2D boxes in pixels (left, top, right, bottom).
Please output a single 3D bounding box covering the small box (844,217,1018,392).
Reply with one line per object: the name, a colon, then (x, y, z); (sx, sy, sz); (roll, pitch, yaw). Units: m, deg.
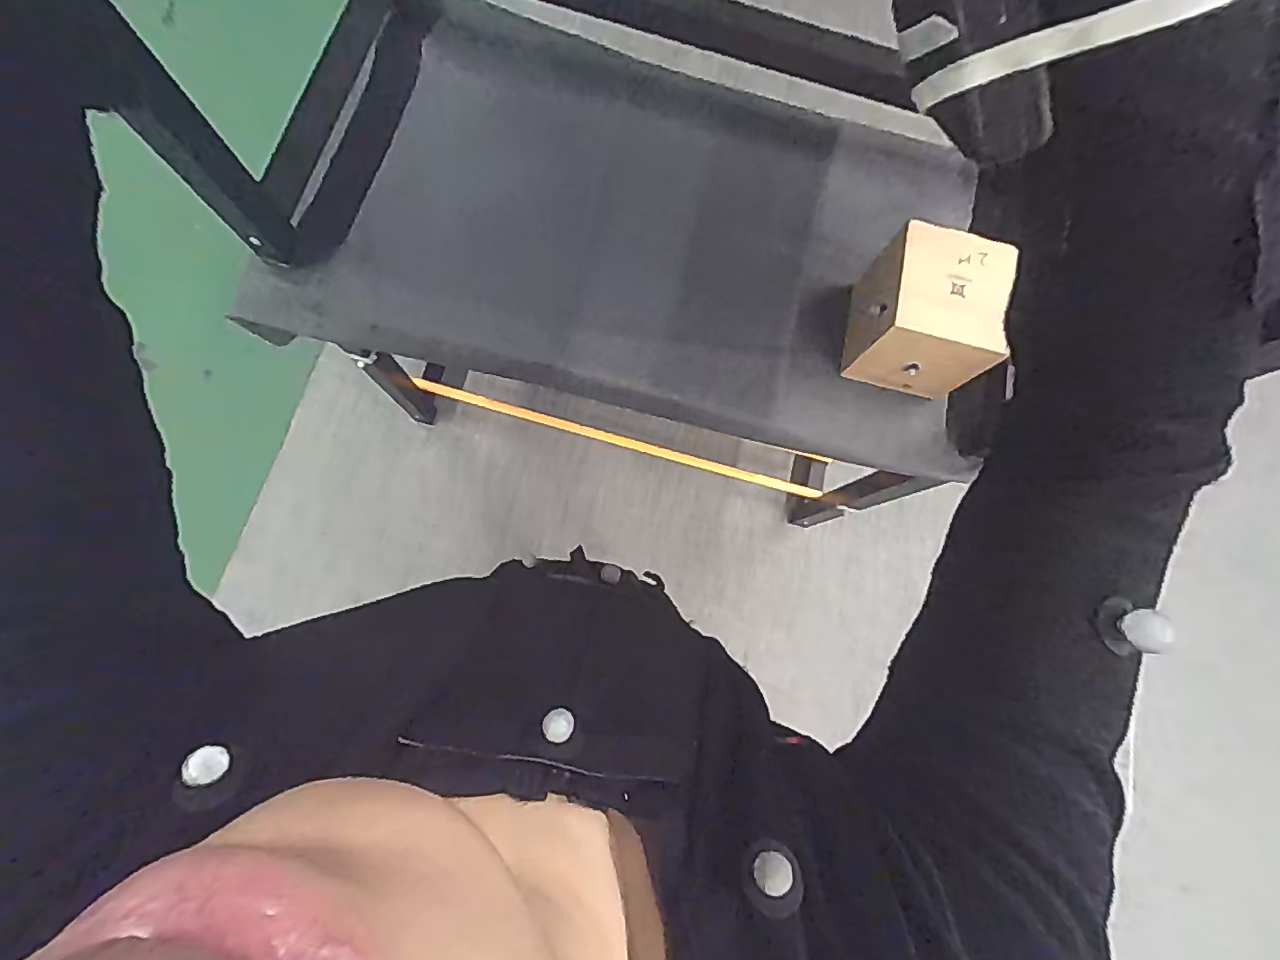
small box: (0.431, -0.254, 0.824); (0.168, 0.176, 0.179); (14, 76, -2)
